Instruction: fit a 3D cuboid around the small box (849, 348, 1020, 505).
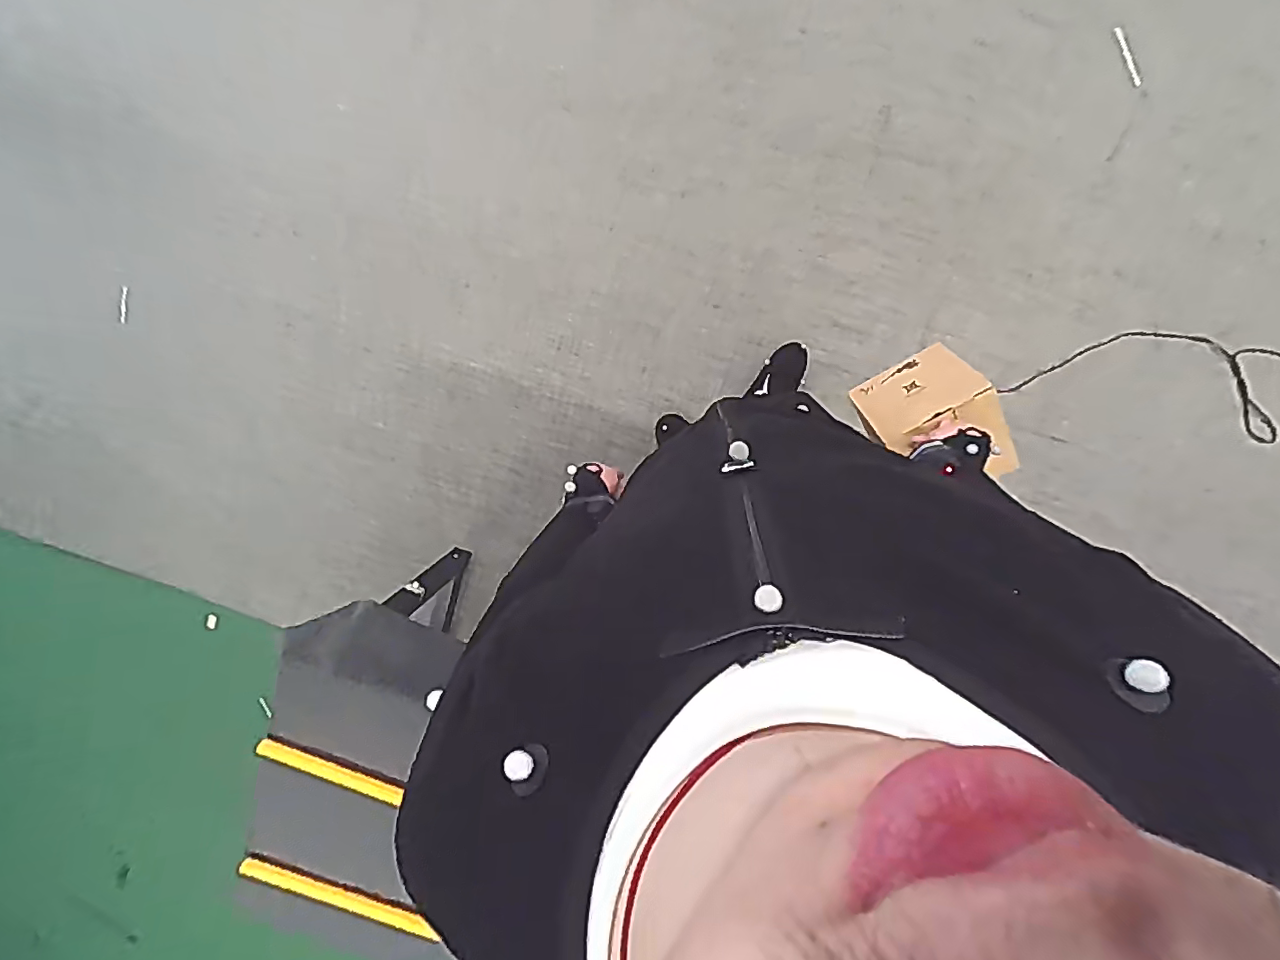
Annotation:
[{"bbox_3d":[0.485,-0.081,0.898,0.168,0.179,0.176,-33,119,17],"label":"small box"}]
